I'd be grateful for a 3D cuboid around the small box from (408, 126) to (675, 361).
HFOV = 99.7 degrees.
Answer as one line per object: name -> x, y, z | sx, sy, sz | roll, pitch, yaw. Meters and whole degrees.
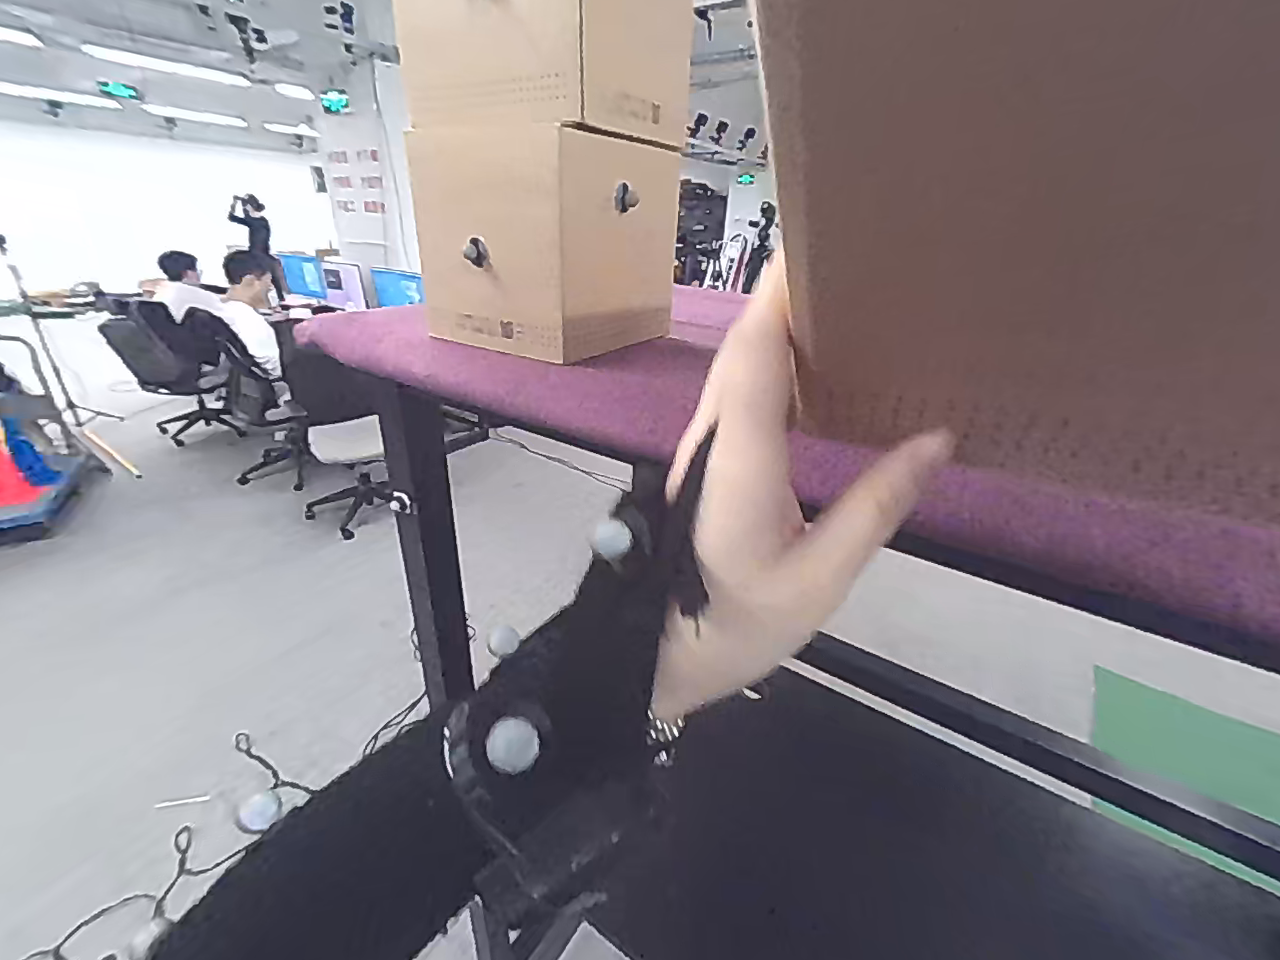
small box -> -0.081, -0.216, 0.505 | 0.168, 0.176, 0.179 | 18, 30, 27
